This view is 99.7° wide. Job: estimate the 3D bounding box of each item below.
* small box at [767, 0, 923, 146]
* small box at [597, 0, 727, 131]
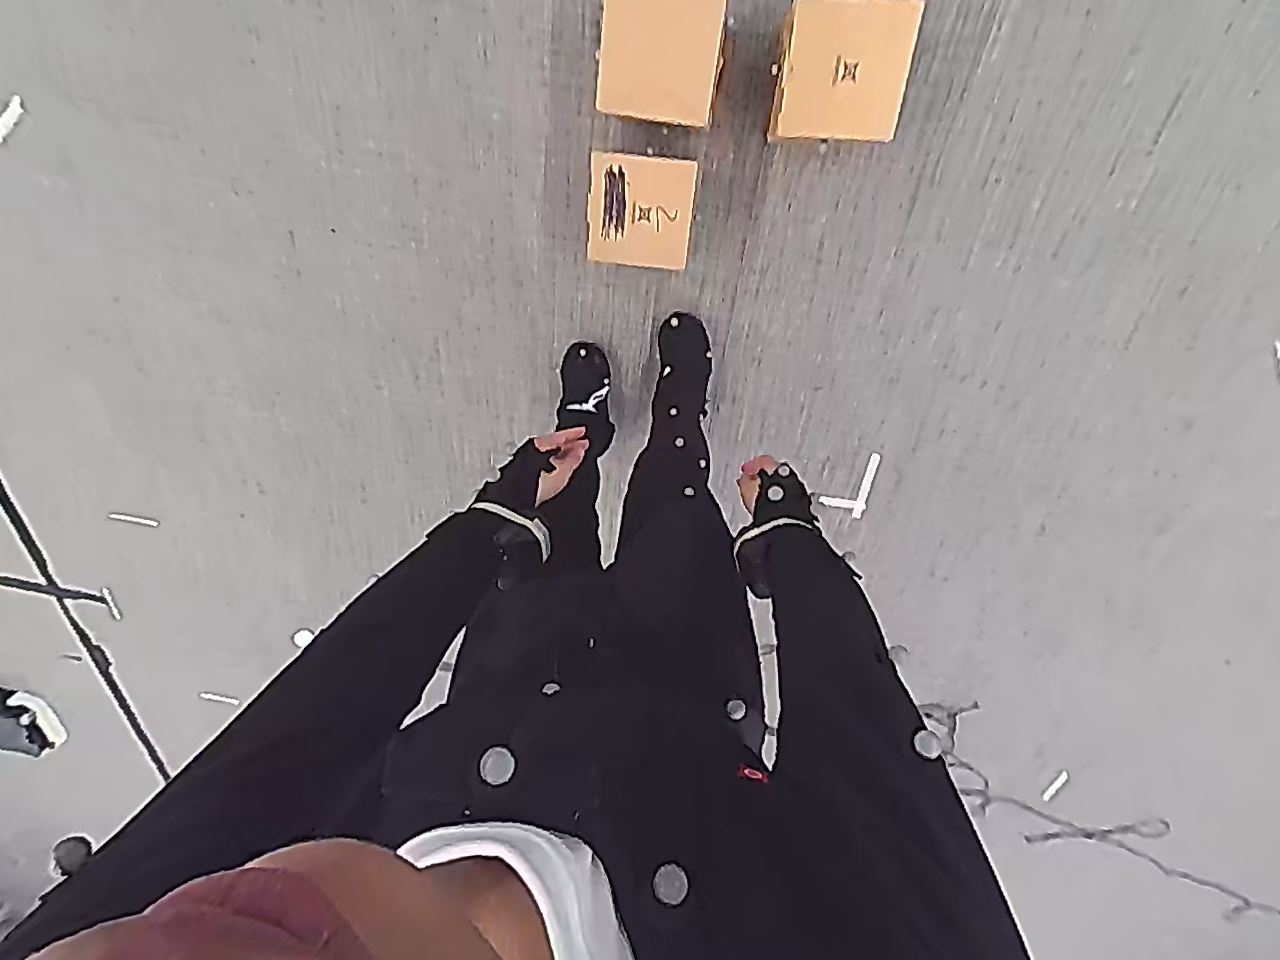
[{"bbox_3d":[0.306,-0.628,0.851,0.179,0.176,0.168,6,120,5],"label":"small box"},{"bbox_3d":[0.038,-0.665,0.861,0.179,0.176,0.168,10,120,2],"label":"small box"}]
